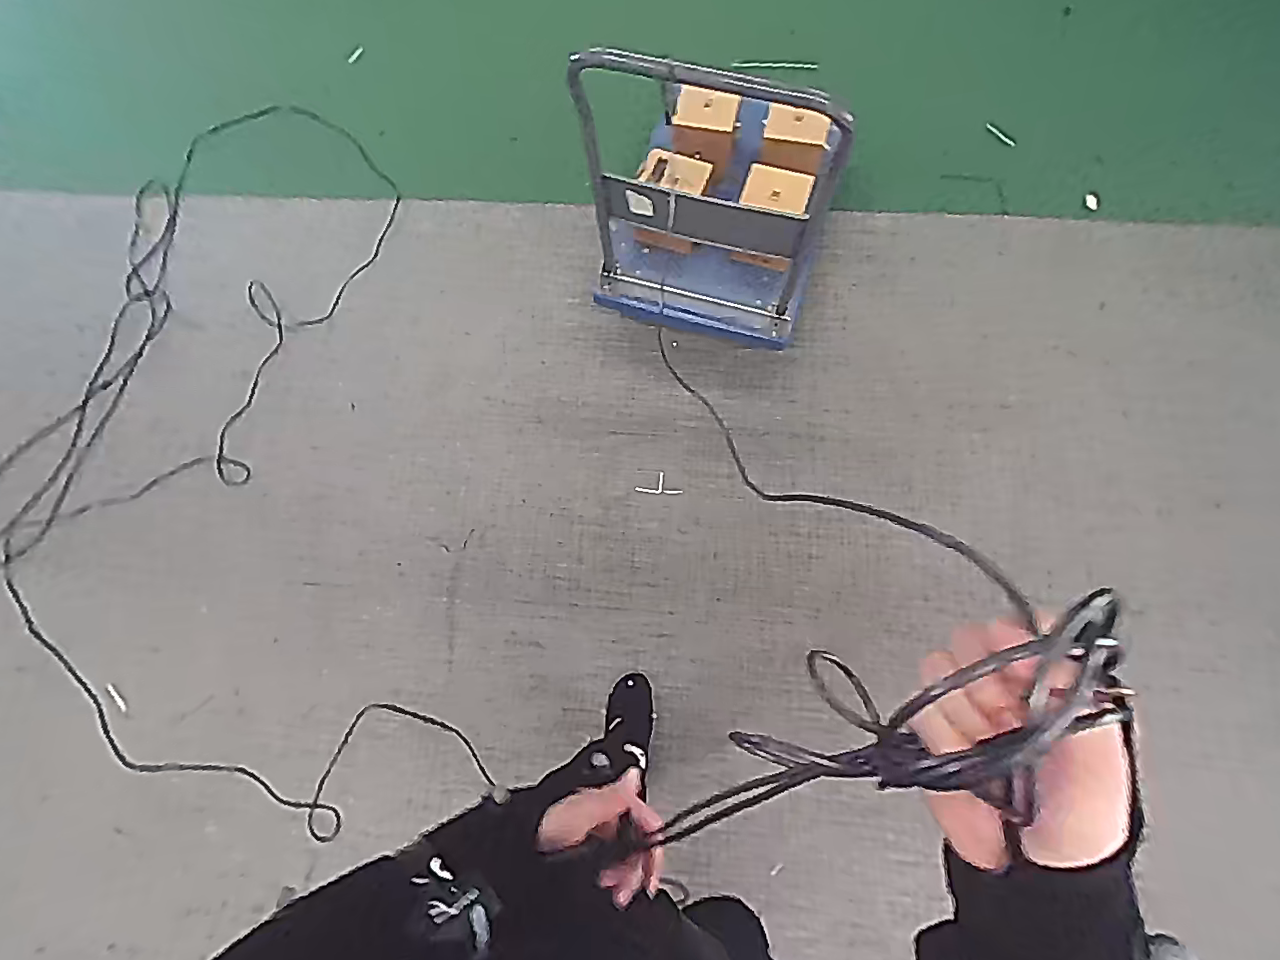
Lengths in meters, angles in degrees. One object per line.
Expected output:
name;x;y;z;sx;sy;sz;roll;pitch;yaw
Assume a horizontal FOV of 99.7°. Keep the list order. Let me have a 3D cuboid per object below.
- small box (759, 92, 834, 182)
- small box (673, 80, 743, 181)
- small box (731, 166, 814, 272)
small box;0.438;-0.955;1.542;0.168;0.176;0.179;13;76;8
small box;0.195;-1.010;1.572;0.168;0.176;0.179;13;75;6
small box;0.355;-0.706;1.476;0.168;0.176;0.179;17;76;8
